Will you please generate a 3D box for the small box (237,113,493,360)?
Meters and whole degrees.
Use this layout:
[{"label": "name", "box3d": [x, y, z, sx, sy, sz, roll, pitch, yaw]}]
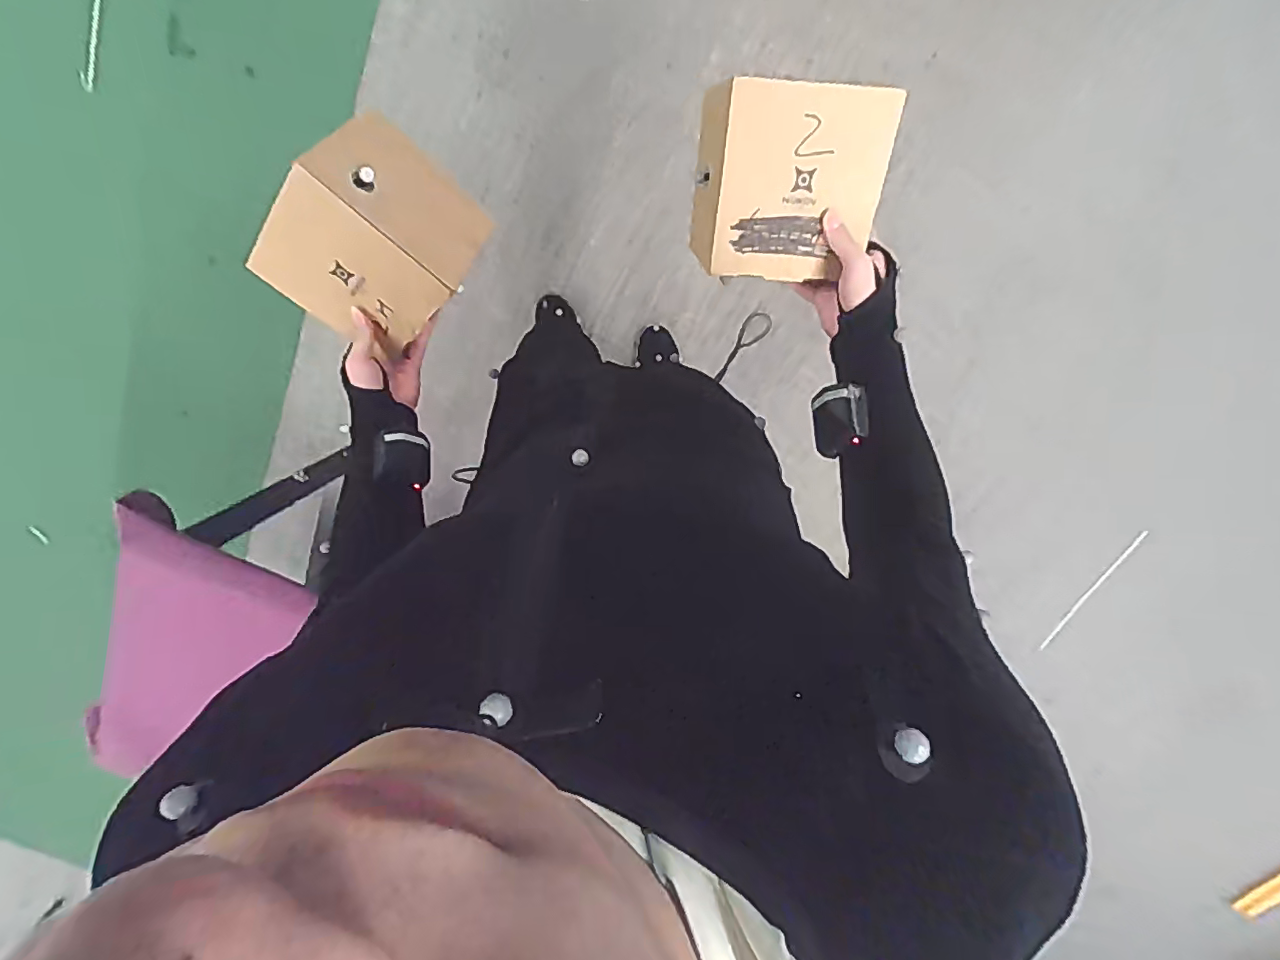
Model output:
[{"label": "small box", "box3d": [-0.304, -0.282, 0.624, 0.168, 0.176, 0.179, -25, 129, 36]}]
